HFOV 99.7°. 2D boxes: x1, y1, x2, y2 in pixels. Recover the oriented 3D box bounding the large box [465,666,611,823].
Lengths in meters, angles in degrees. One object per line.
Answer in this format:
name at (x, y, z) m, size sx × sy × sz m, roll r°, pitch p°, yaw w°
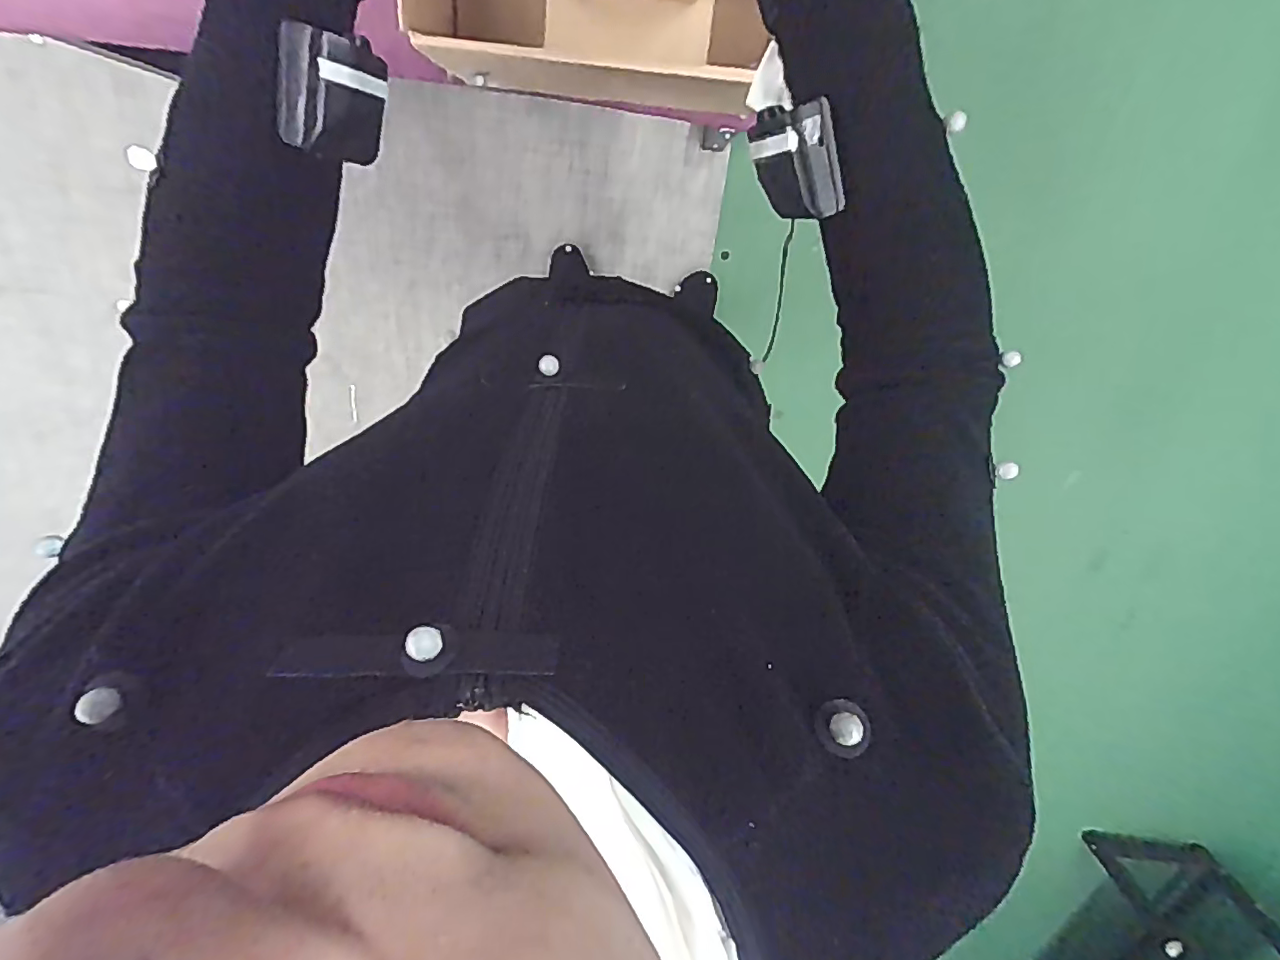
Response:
large box at (-0.354, 0.957, 1.973) m, size 0.408 × 0.320 × 0.320 m, roll -25°, pitch 112°, yaw 9°
